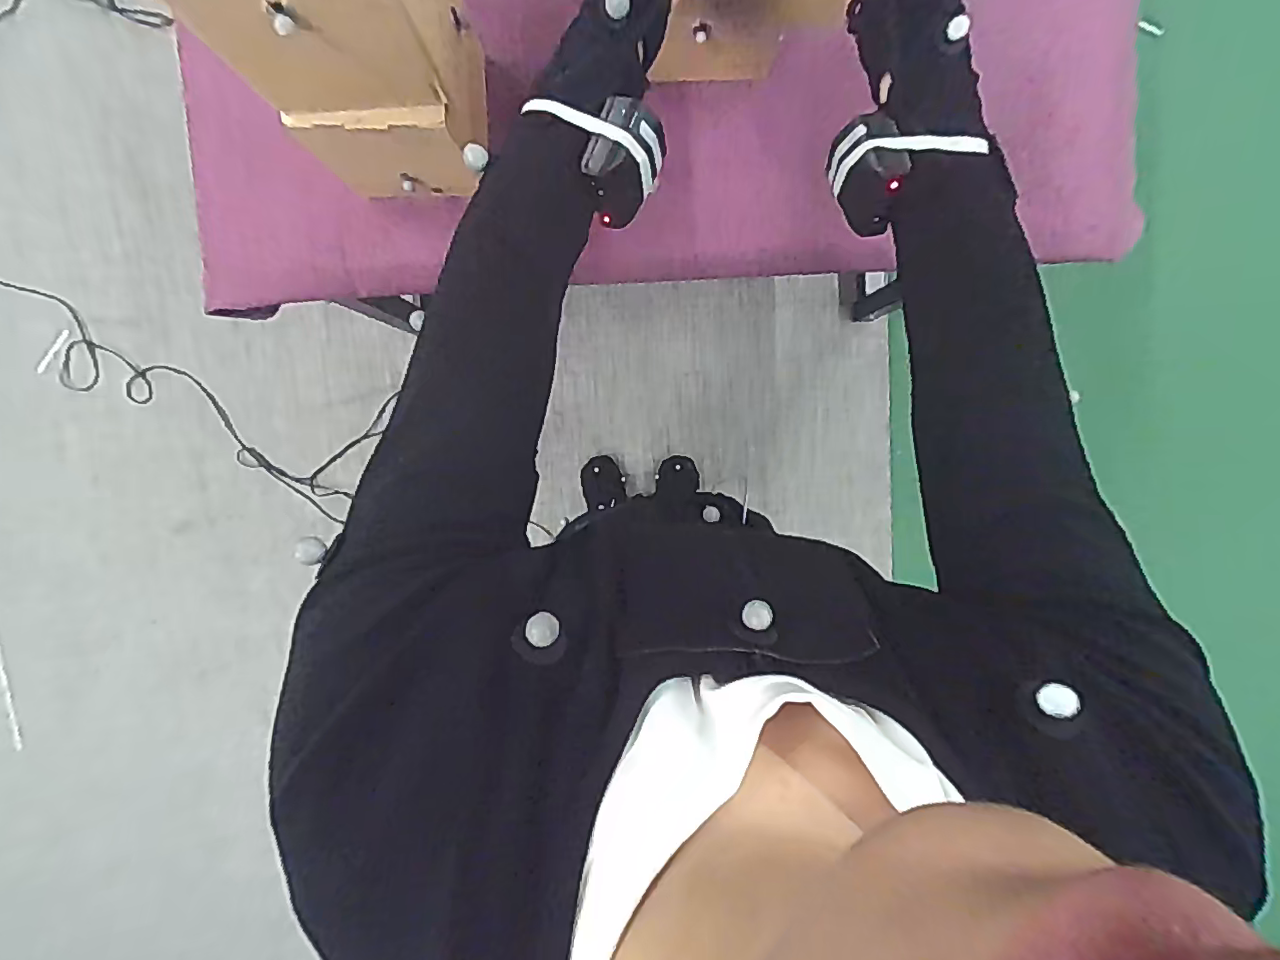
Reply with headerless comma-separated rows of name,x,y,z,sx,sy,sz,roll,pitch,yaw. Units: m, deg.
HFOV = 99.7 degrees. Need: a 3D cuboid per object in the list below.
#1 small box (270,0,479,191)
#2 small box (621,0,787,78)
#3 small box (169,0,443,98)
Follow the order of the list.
small box,-0.285,-0.455,0.609,0.168,0.176,0.179,0,97,-2
small box,0.067,-0.589,0.608,0.179,0.176,0.168,-1,96,-1
small box,-0.274,-0.449,0.446,0.179,0.176,0.168,-4,96,-2
